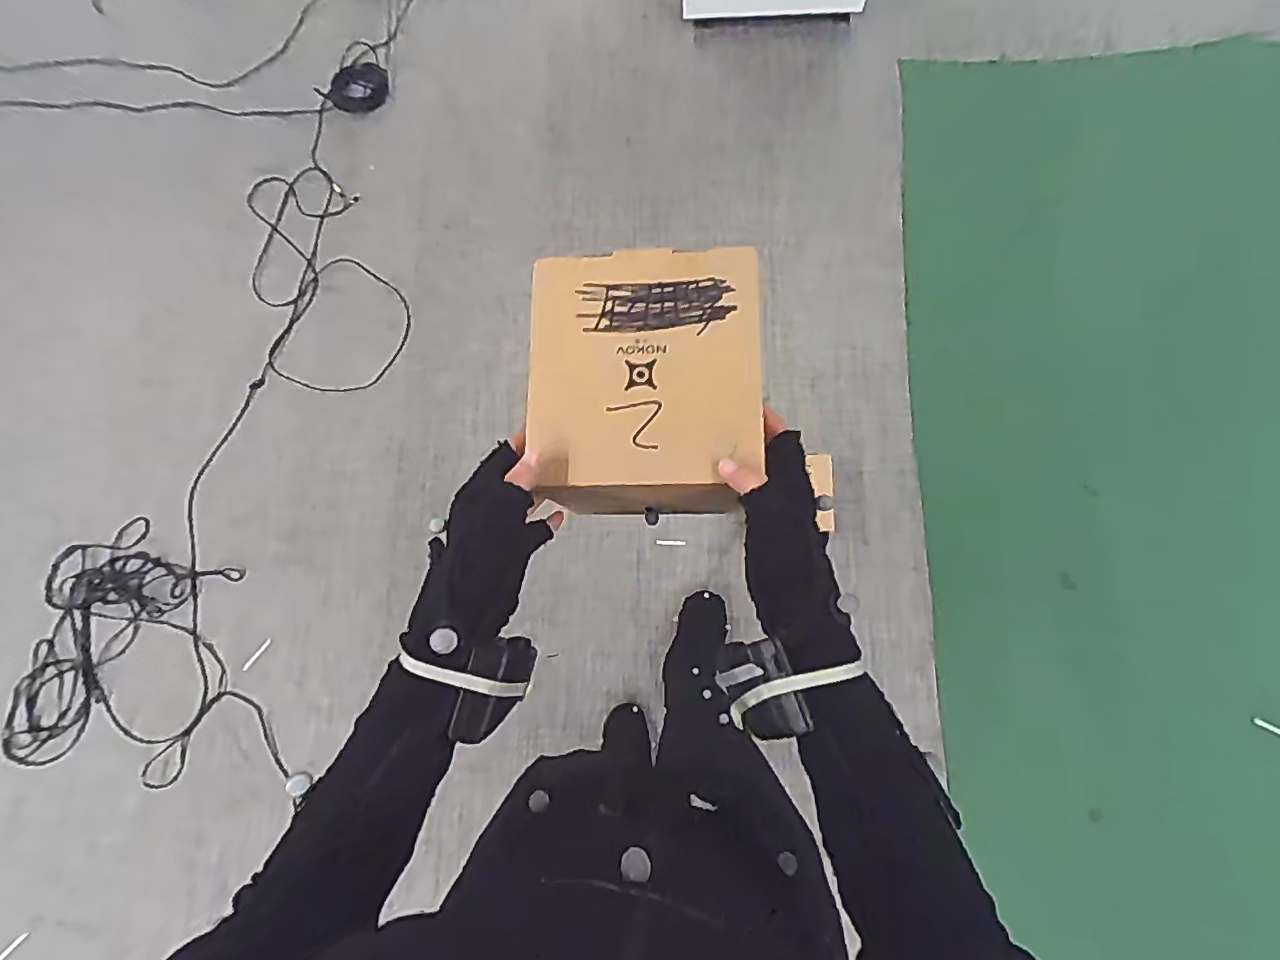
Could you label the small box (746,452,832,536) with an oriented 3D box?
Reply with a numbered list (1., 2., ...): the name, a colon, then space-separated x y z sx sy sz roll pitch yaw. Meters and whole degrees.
1. small box: 0.341 0.038 1.260 0.168 0.176 0.179 0 80 4
